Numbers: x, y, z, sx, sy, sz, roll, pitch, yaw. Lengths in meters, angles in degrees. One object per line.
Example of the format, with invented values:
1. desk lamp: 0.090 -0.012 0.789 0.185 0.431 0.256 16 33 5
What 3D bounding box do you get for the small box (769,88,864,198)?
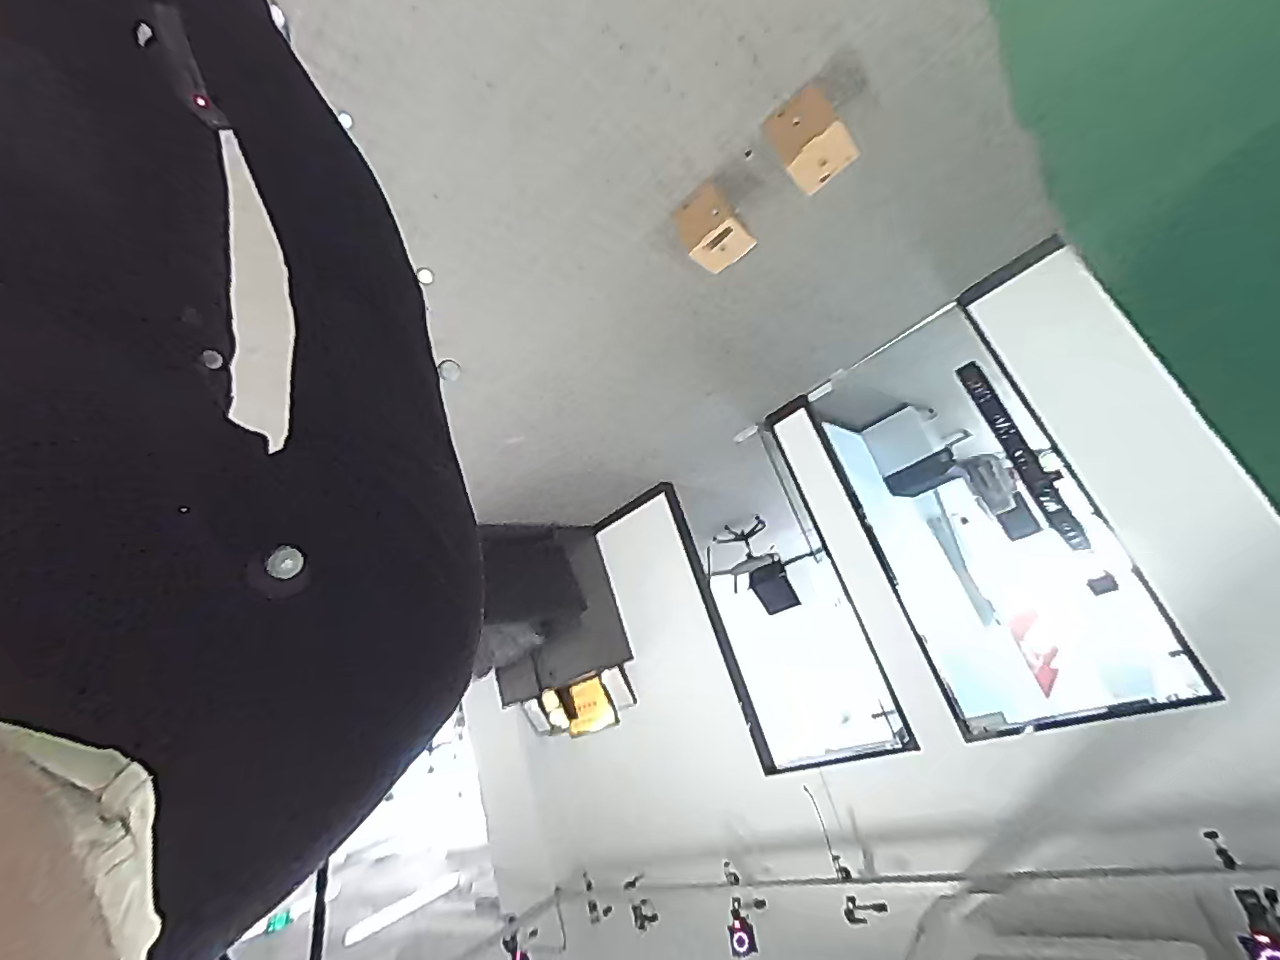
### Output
1. small box: 0.486 -0.940 1.504 0.168 0.176 0.179 -32 156 33
